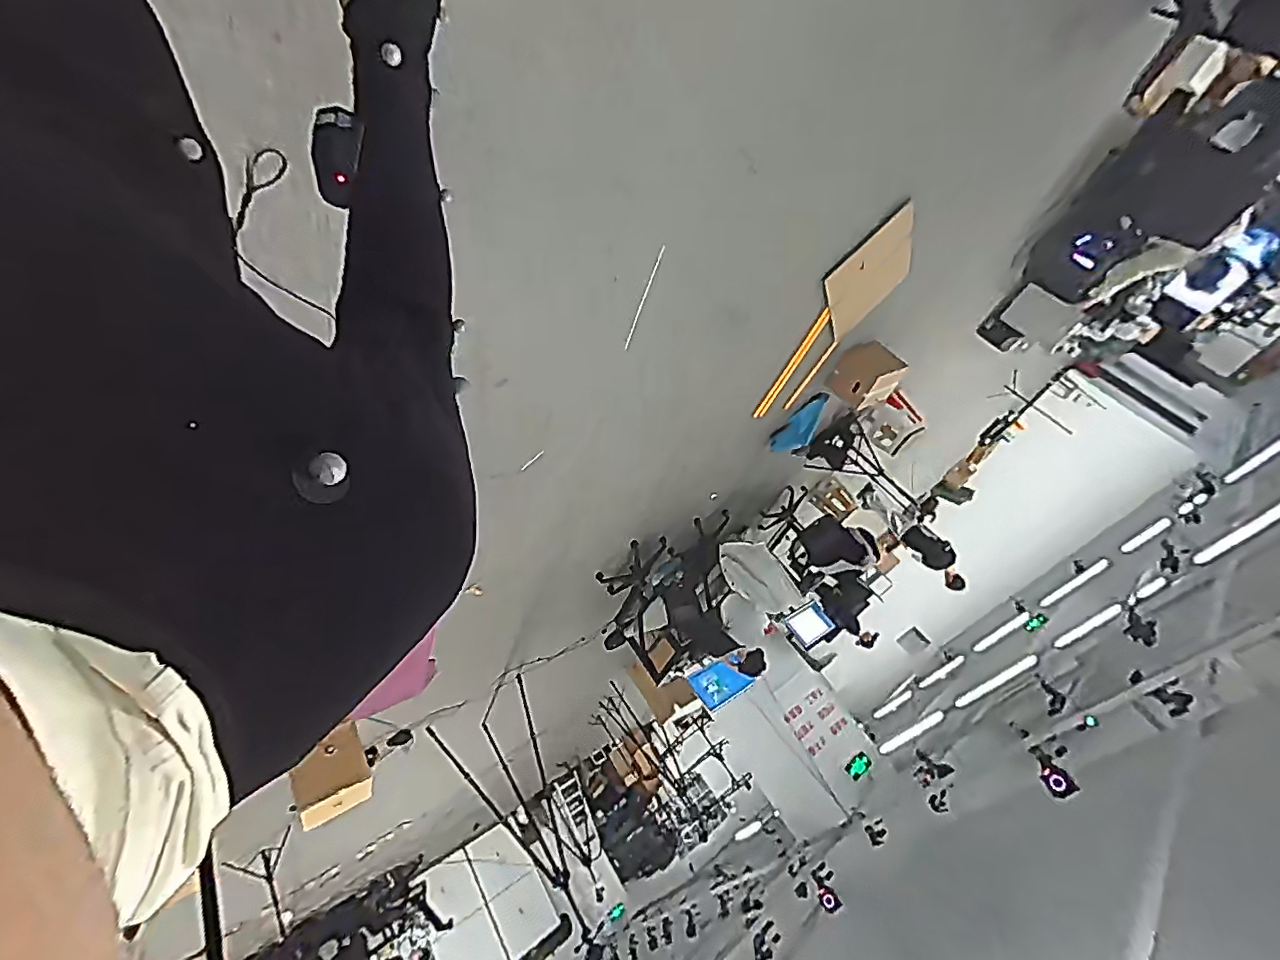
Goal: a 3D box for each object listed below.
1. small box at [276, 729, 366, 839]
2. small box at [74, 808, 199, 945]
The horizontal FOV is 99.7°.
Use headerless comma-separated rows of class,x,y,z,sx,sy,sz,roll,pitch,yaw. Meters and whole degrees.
small box,-0.833,0.789,1.416,0.168,0.176,0.179,-15,144,-38
small box,-1.100,0.859,1.185,0.168,0.176,0.179,-15,145,-39
